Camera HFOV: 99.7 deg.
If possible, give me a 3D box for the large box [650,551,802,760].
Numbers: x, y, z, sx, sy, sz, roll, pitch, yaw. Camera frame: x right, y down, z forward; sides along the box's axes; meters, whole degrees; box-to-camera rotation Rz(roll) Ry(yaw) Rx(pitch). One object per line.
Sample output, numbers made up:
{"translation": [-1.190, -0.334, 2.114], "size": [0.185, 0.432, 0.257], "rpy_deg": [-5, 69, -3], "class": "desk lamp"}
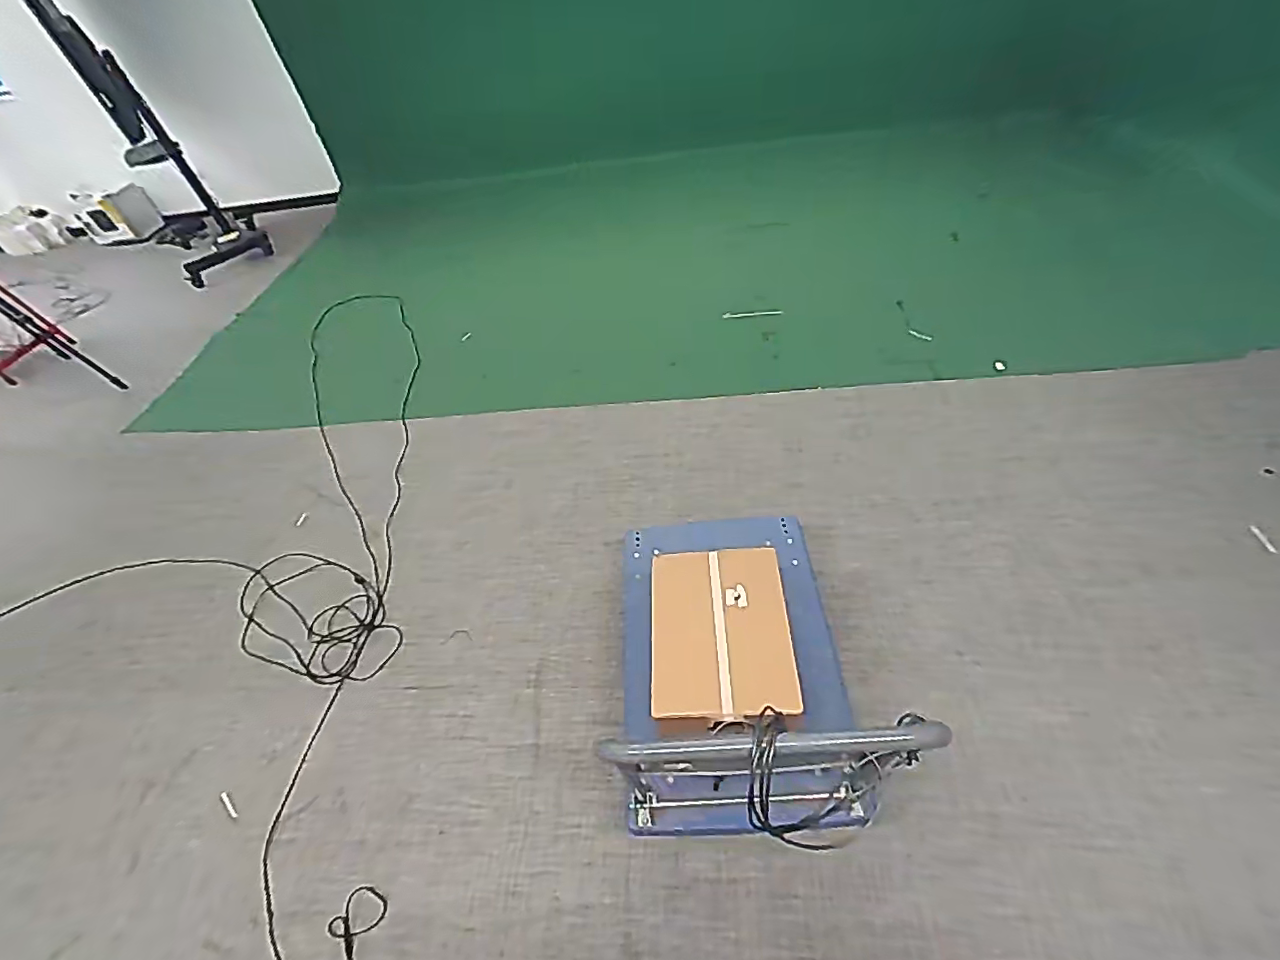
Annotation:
{"translation": [0.199, 0.438, 1.350], "size": [0.320, 0.320, 0.408], "rpy_deg": [-4, 47, 6], "class": "large box"}
